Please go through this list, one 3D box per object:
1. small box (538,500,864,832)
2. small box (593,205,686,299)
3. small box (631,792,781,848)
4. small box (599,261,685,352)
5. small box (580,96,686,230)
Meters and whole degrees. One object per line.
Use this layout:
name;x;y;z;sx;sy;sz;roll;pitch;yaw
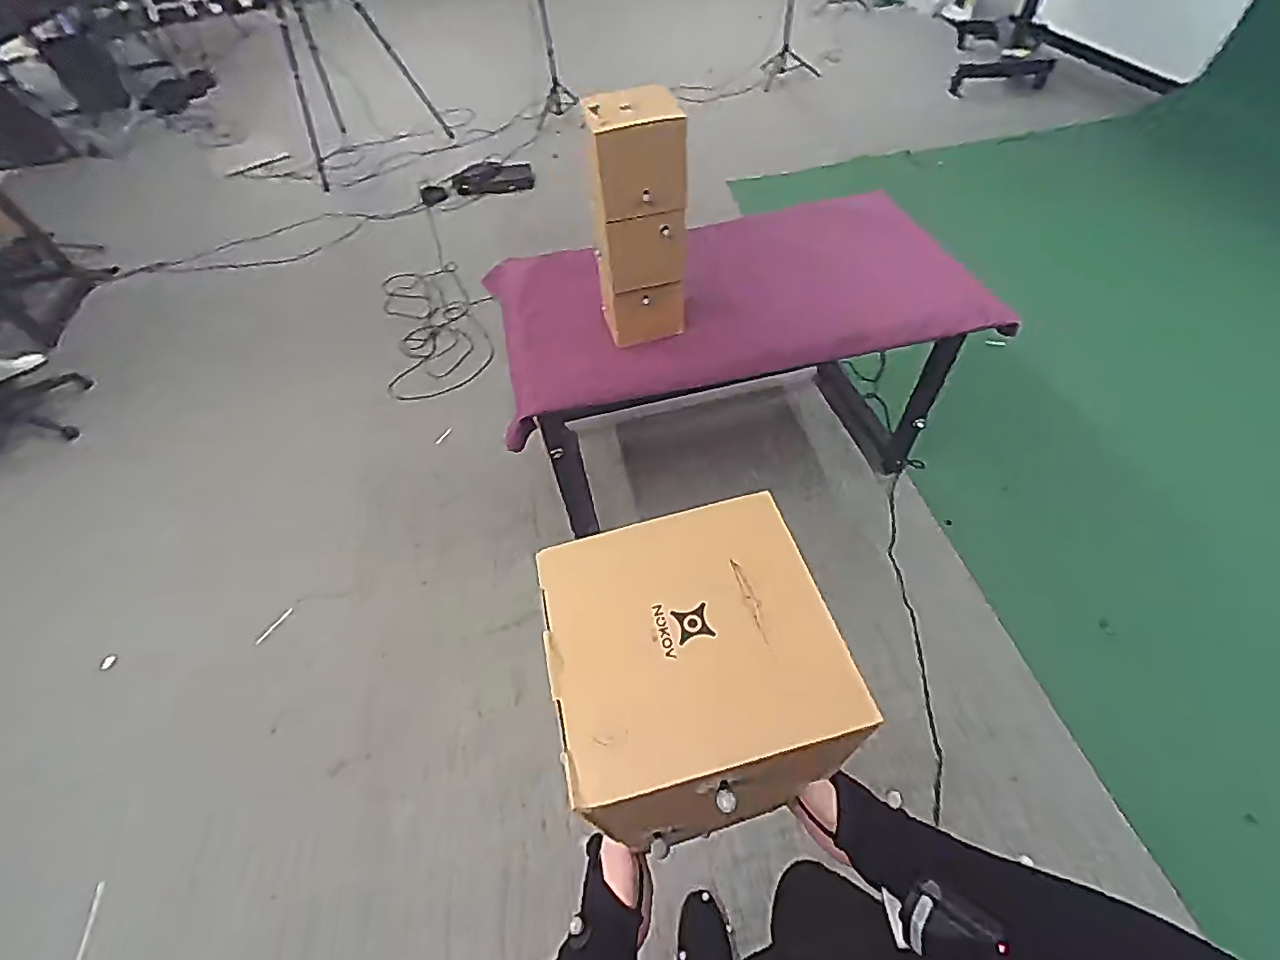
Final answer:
small box;0.036;0.145;0.405;0.179;0.176;0.168;-14;52;-3
small box;-0.001;-0.536;1.214;0.179;0.176;0.168;-13;53;-4
small box;0.065;0.334;0.671;0.179;0.176;0.168;-15;51;-4
small box;0.007;-0.448;1.355;0.179;0.176;0.168;-15;54;-4
small box;-0.013;-0.631;1.082;0.179;0.176;0.168;-13;53;-5
